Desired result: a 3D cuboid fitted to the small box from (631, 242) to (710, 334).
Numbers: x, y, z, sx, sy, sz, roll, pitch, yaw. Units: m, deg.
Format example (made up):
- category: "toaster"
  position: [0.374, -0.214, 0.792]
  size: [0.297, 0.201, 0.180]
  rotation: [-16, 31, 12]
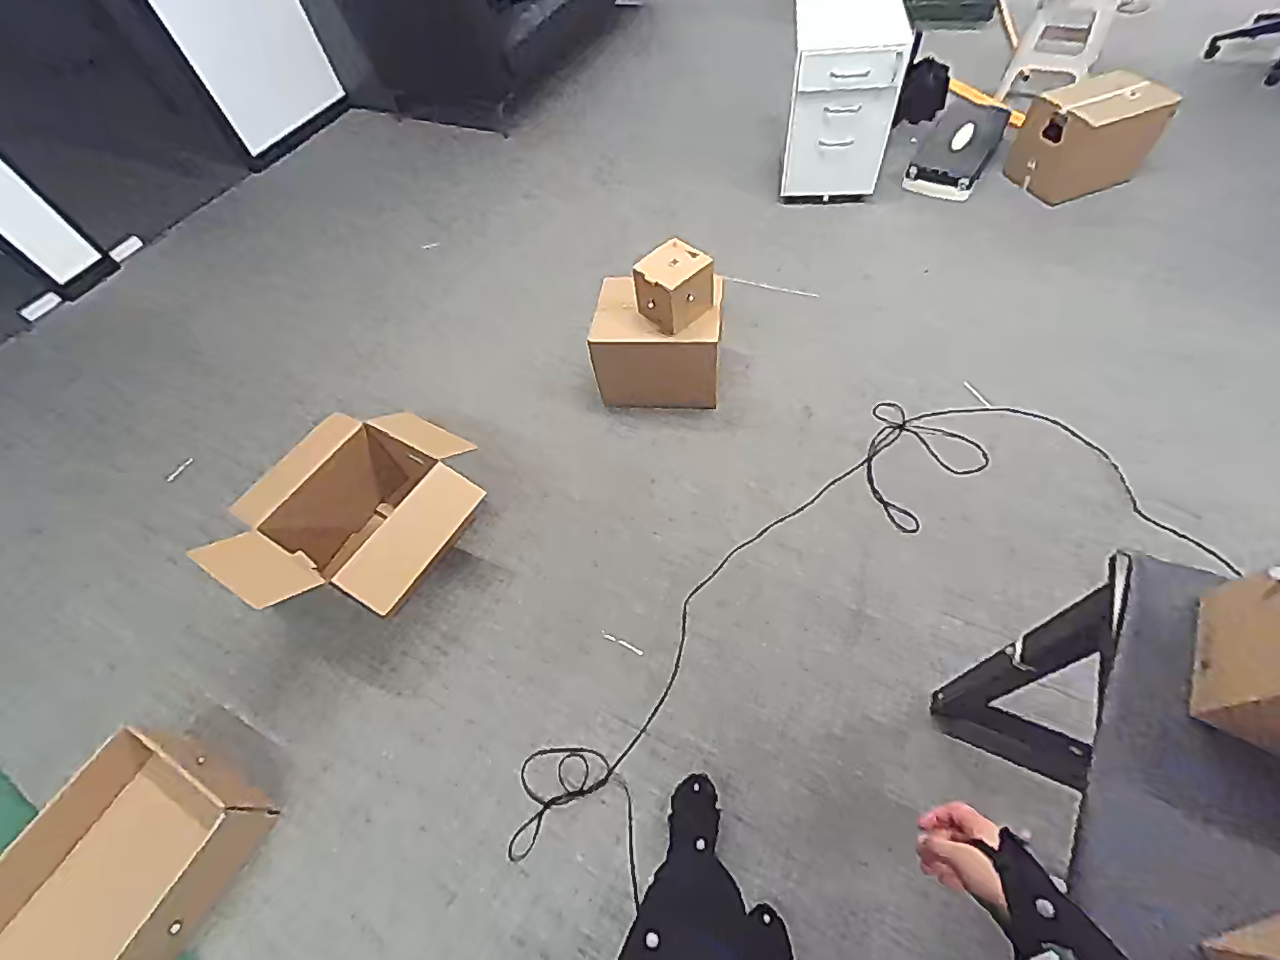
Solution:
- category: "small box"
  position: [0.100, -0.577, 1.638]
  size: [0.179, 0.176, 0.168]
  rotation: [-40, 62, -16]
